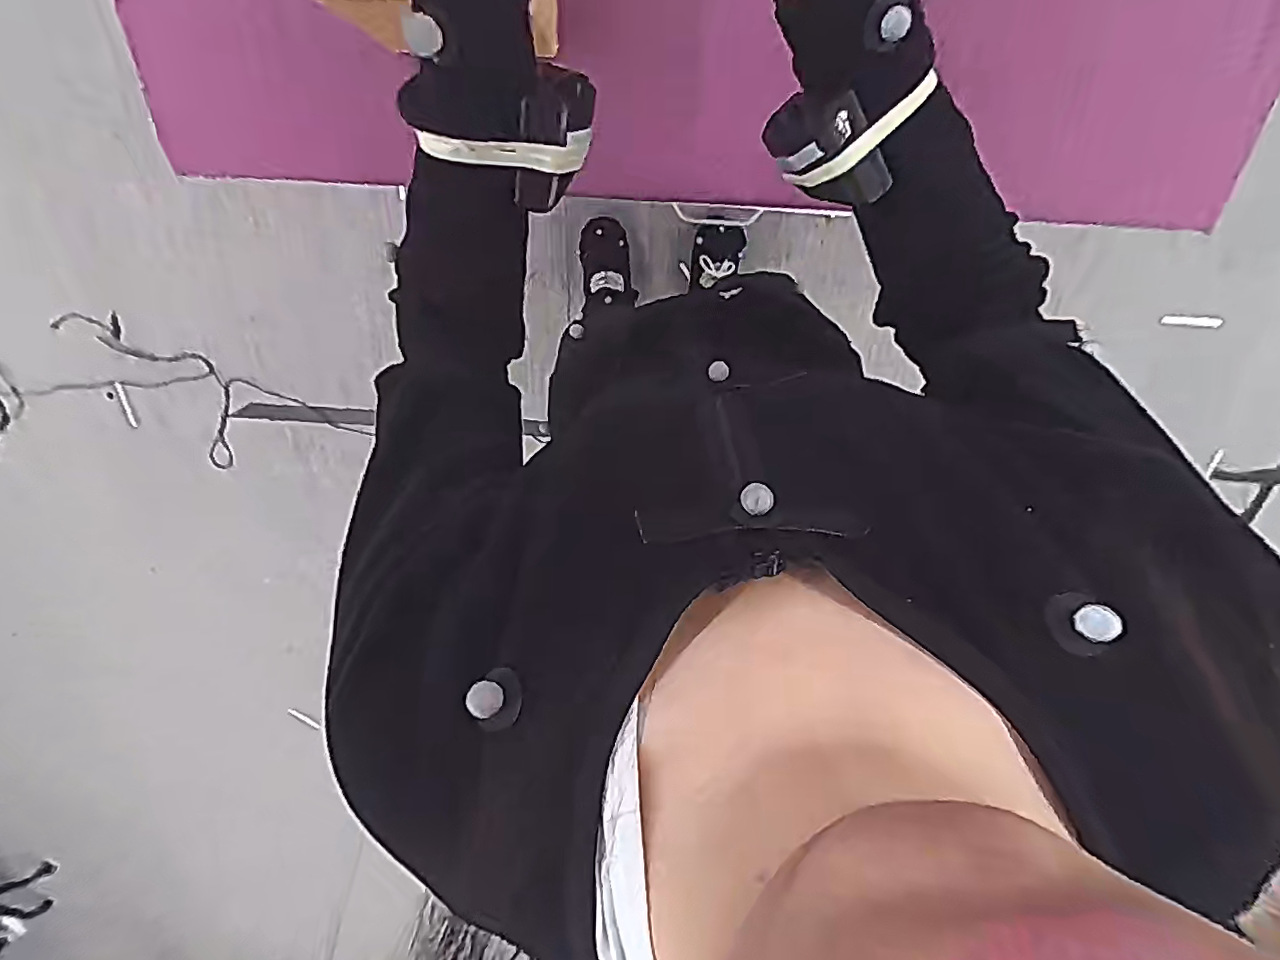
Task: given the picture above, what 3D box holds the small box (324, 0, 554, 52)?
[{"bbox_3d":[-0.169,-0.487,0.459,0.179,0.176,0.168,2,117,0],"label":"small box"}]
